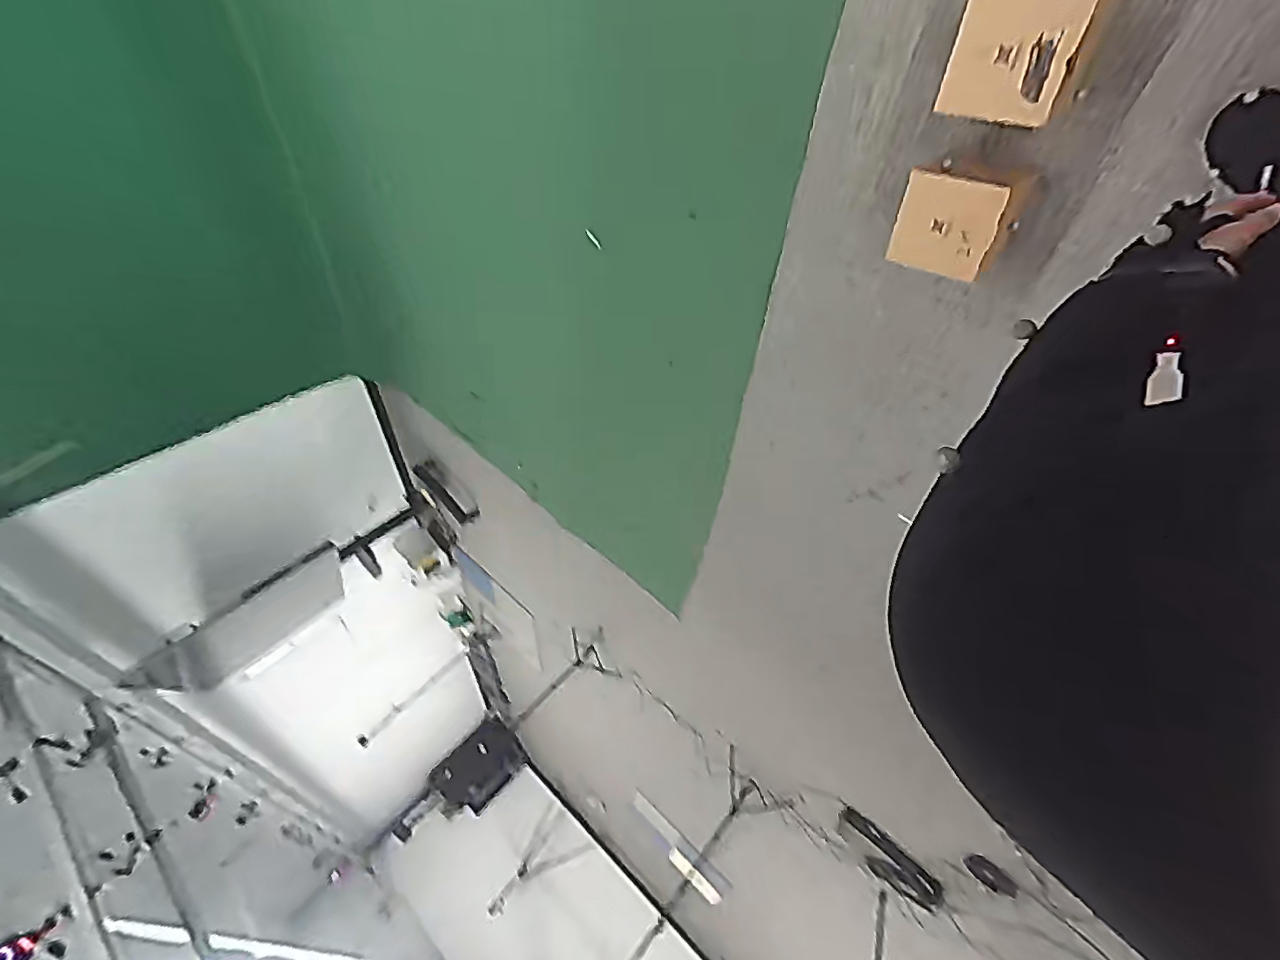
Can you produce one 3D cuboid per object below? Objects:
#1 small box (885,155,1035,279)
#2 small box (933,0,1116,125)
[{"bbox_3d":[0.617,-0.516,1.049,0.179,0.176,0.168,31,142,29],"label":"small box"},{"bbox_3d":[0.622,-0.696,0.877,0.179,0.176,0.168,33,141,29],"label":"small box"}]
